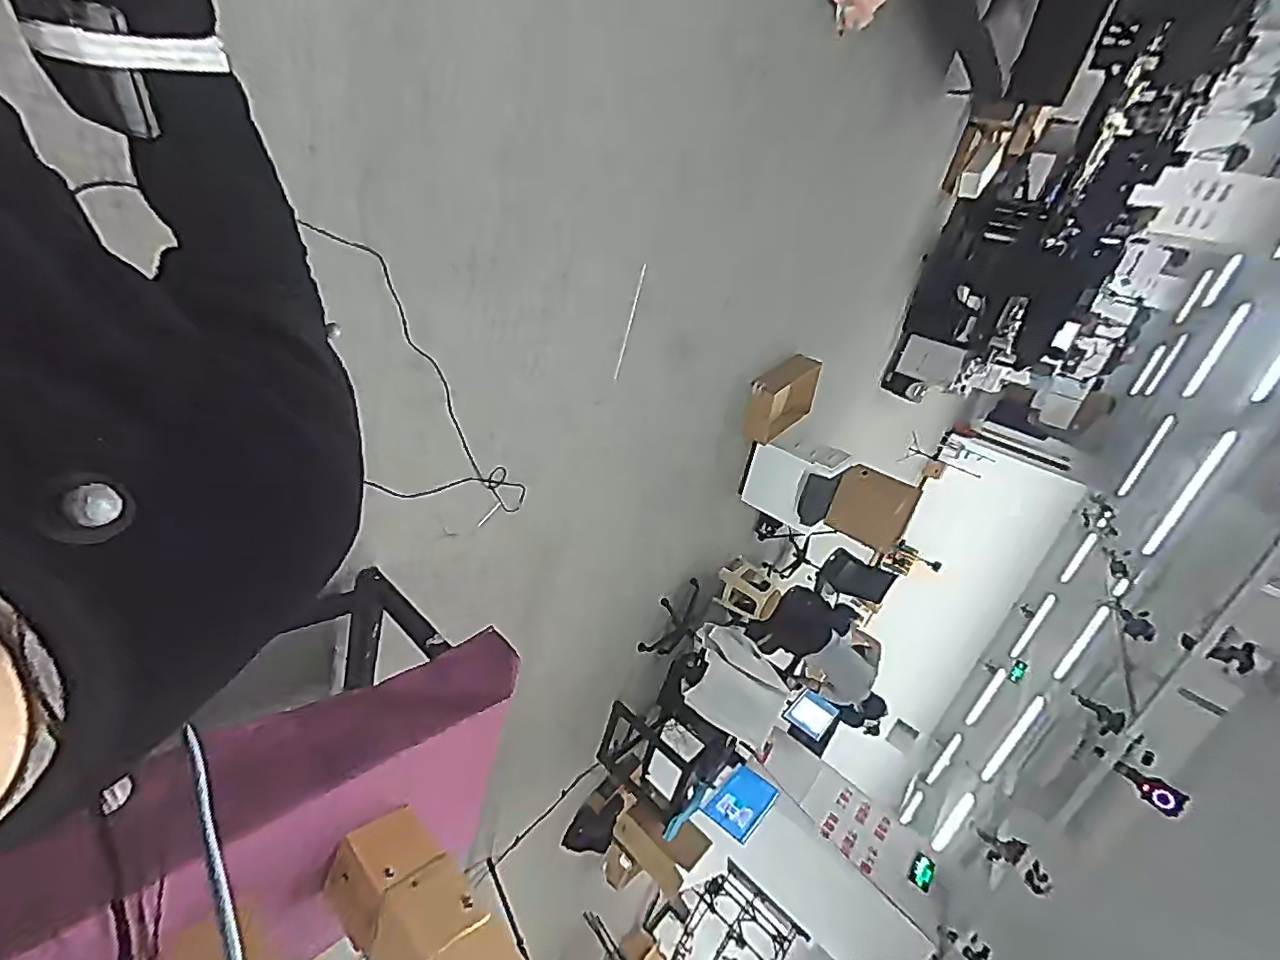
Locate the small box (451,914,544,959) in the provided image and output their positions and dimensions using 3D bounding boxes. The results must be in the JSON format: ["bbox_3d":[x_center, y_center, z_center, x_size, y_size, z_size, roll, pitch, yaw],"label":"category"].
[{"bbox_3d":[-0.315,1.057,1.105,0.179,0.176,0.168,19,100,-58],"label":"small box"}]

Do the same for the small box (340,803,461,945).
[{"bbox_3d":[-0.560,0.905,1.263,0.179,0.176,0.168,7,110,-55],"label":"small box"}]

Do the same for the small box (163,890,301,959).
[{"bbox_3d":[-0.762,0.929,0.999,0.179,0.176,0.168,-8,122,-52],"label":"small box"}]
